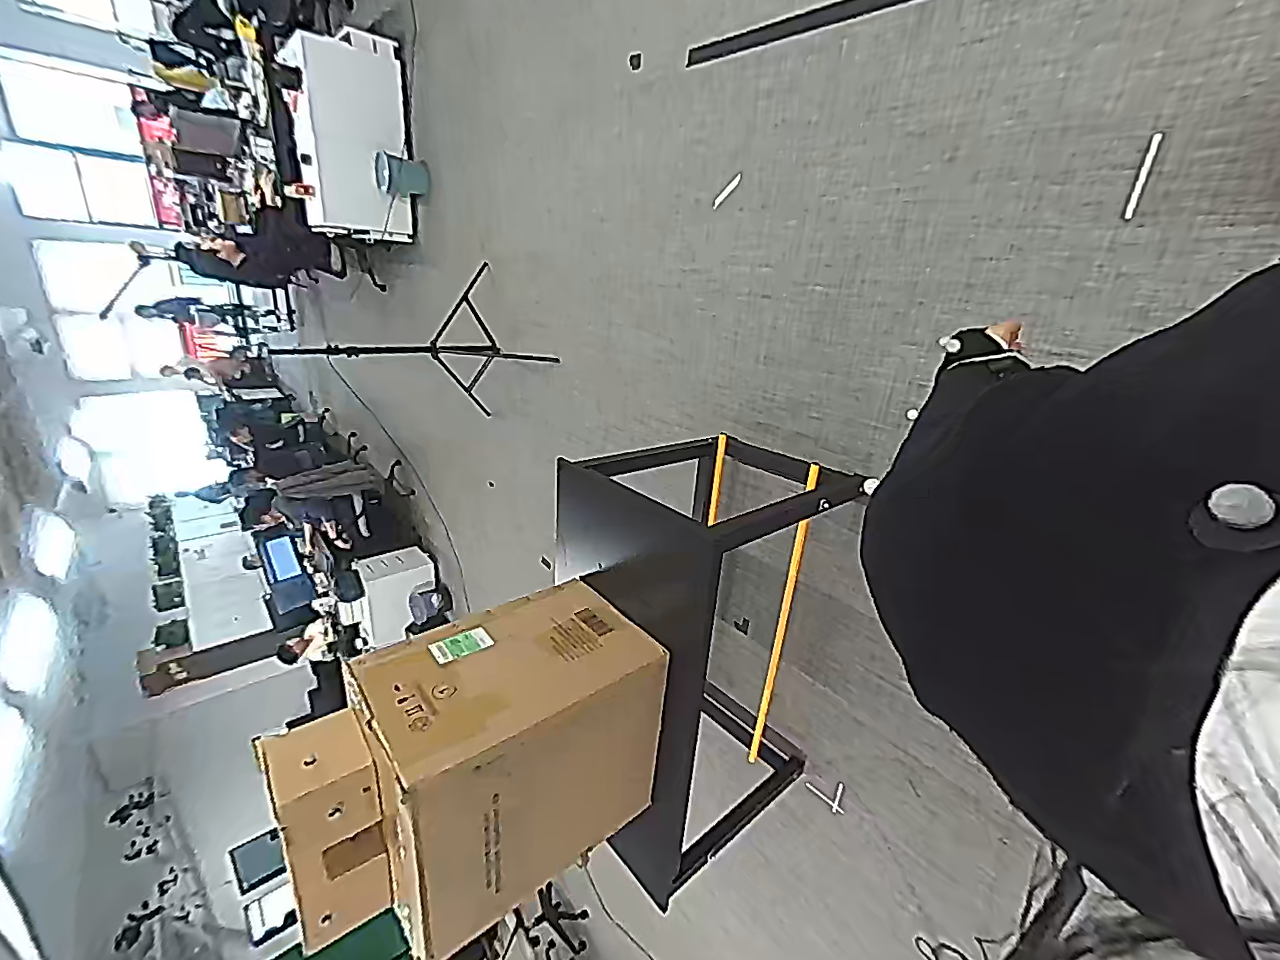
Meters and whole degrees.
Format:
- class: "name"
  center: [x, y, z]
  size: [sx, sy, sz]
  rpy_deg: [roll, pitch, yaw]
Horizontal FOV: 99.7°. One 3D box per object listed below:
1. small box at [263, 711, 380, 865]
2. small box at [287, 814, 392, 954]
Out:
- class: "small box"
  center: [-0.634, 0.607, 1.090]
  size: [0.179, 0.176, 0.168]
  rpy_deg: [28, 122, 44]
- class: "small box"
  center: [-0.651, 0.850, 1.176]
  size: [0.168, 0.176, 0.179]
  rpy_deg: [26, 118, 45]
